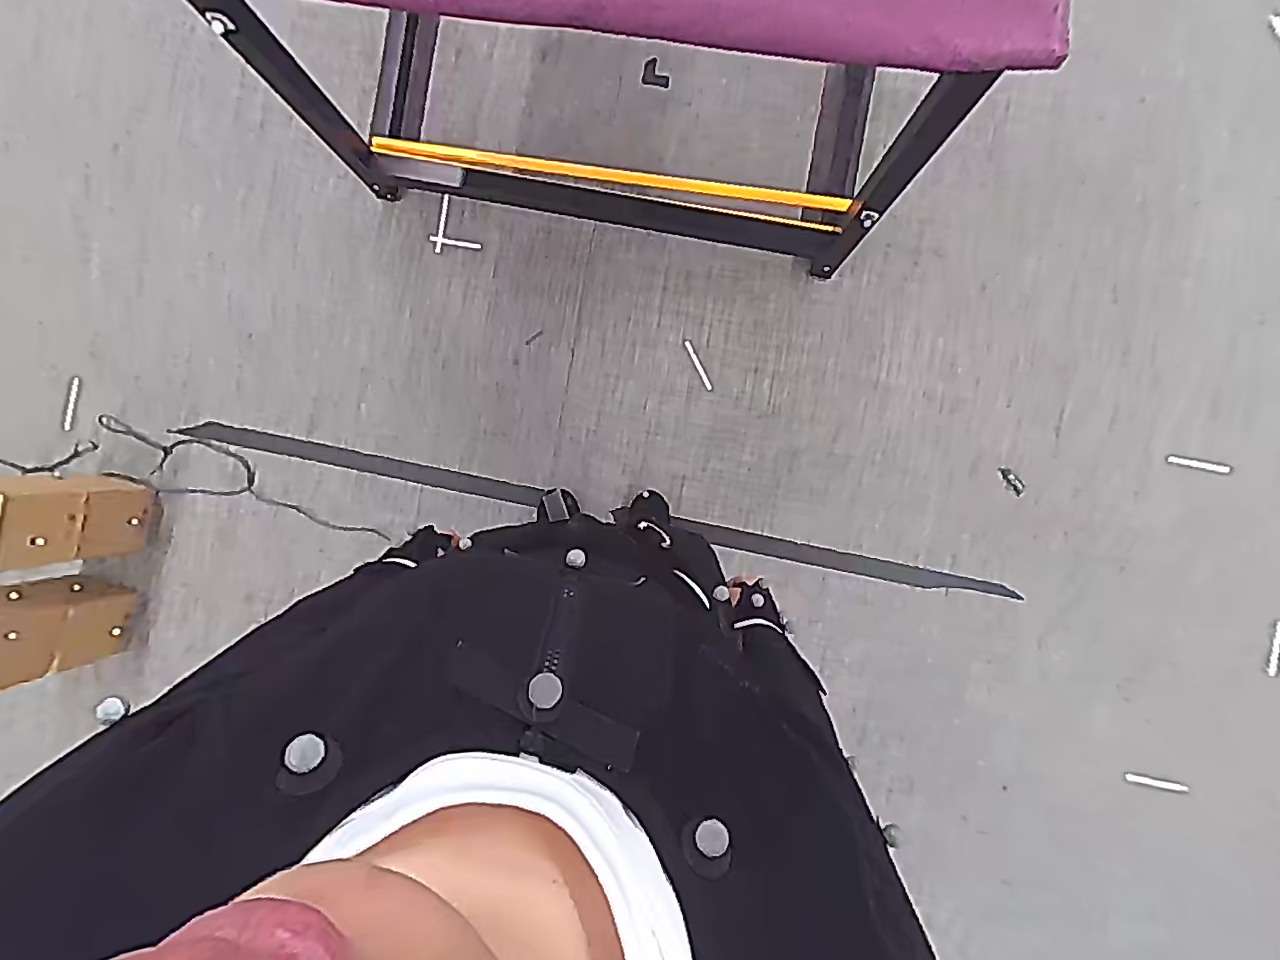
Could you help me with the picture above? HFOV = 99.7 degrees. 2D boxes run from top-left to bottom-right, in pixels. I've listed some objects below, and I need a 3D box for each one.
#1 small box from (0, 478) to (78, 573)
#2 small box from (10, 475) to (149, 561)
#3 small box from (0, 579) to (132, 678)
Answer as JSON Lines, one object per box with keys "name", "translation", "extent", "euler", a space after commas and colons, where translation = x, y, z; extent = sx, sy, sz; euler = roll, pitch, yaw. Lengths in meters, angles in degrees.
{"name": "small box", "translation": [-1.355, 0.090, 1.135], "extent": [0.179, 0.176, 0.168], "euler": [12, 91, 2]}
{"name": "small box", "translation": [-1.351, 0.085, 1.297], "extent": [0.179, 0.176, 0.168], "euler": [13, 92, 0]}
{"name": "small box", "translation": [-1.399, 0.346, 1.298], "extent": [0.179, 0.176, 0.168], "euler": [18, 90, 0]}
